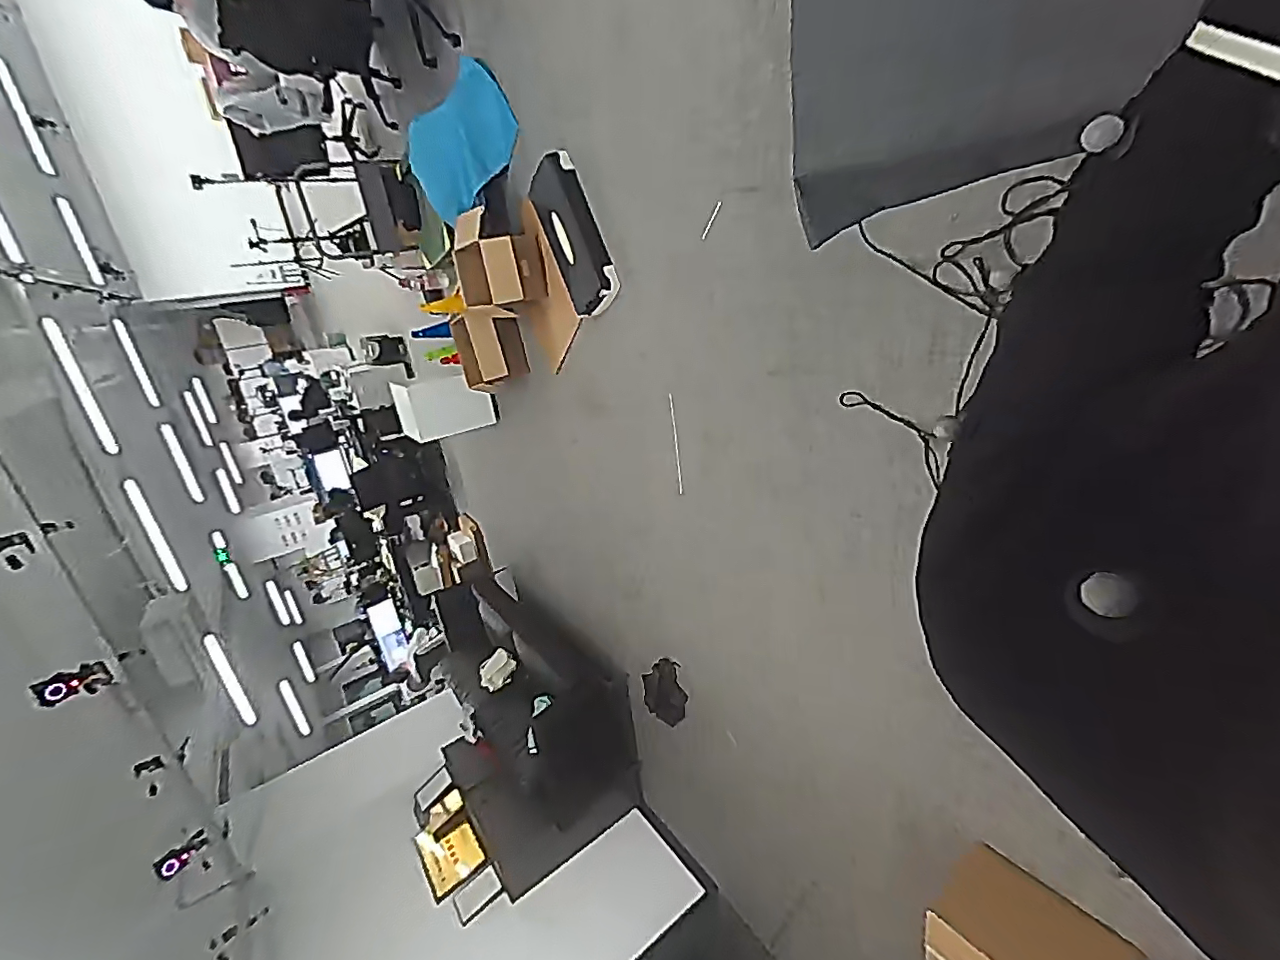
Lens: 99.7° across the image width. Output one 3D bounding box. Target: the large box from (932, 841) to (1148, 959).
[{"bbox_3d":[1.107,1.356,1.524,0.408,0.320,0.320,20,124,54],"label":"large box"}]
